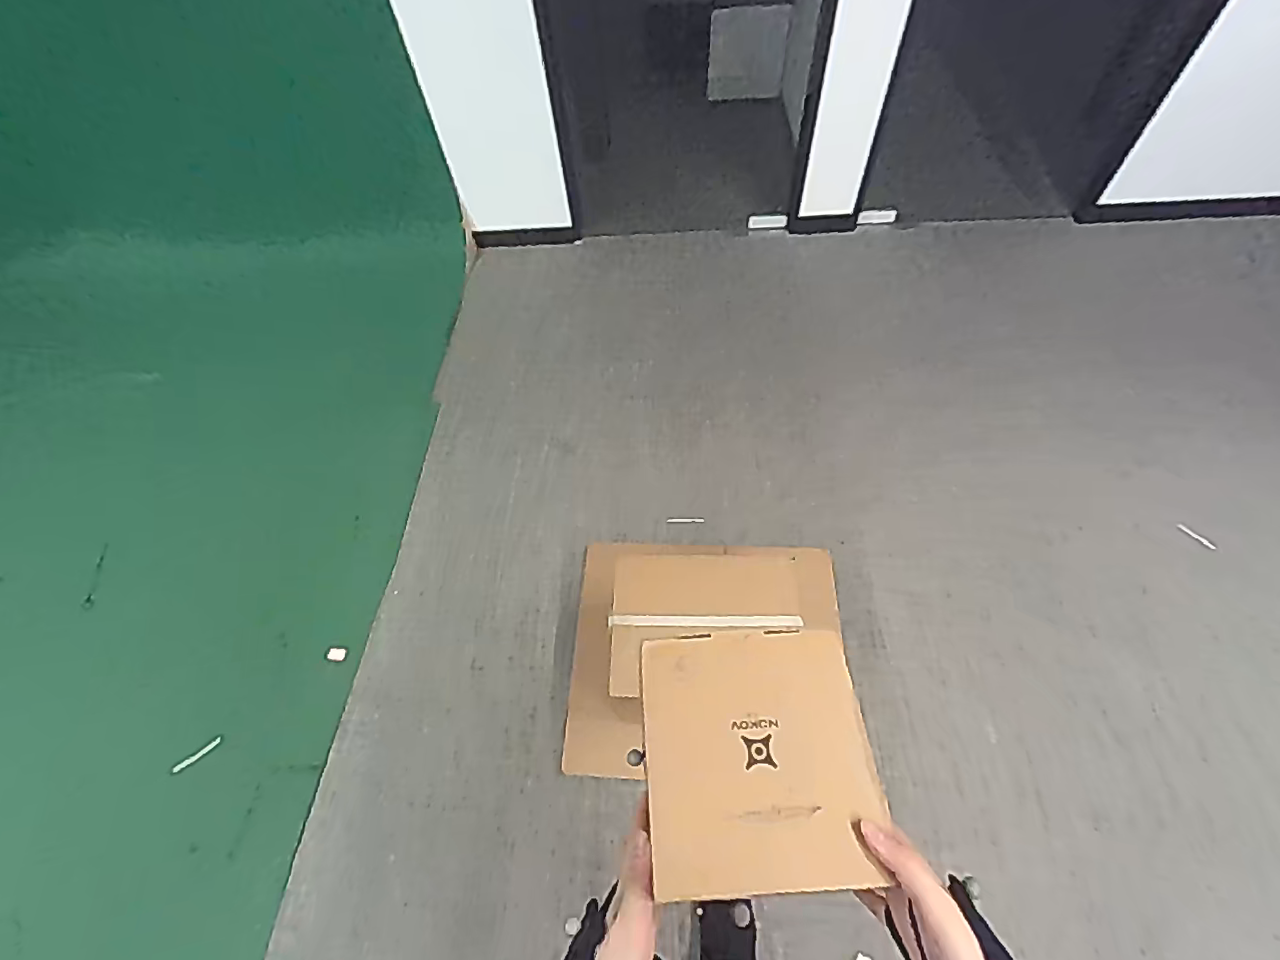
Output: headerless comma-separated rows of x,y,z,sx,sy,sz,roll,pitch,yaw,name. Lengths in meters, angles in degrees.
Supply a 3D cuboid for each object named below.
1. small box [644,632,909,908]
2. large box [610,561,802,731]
0.089,0.247,0.459,0.168,0.176,0.179,-3,51,-1,small box
0.145,0.396,1.262,0.408,0.320,0.320,0,57,3,large box
